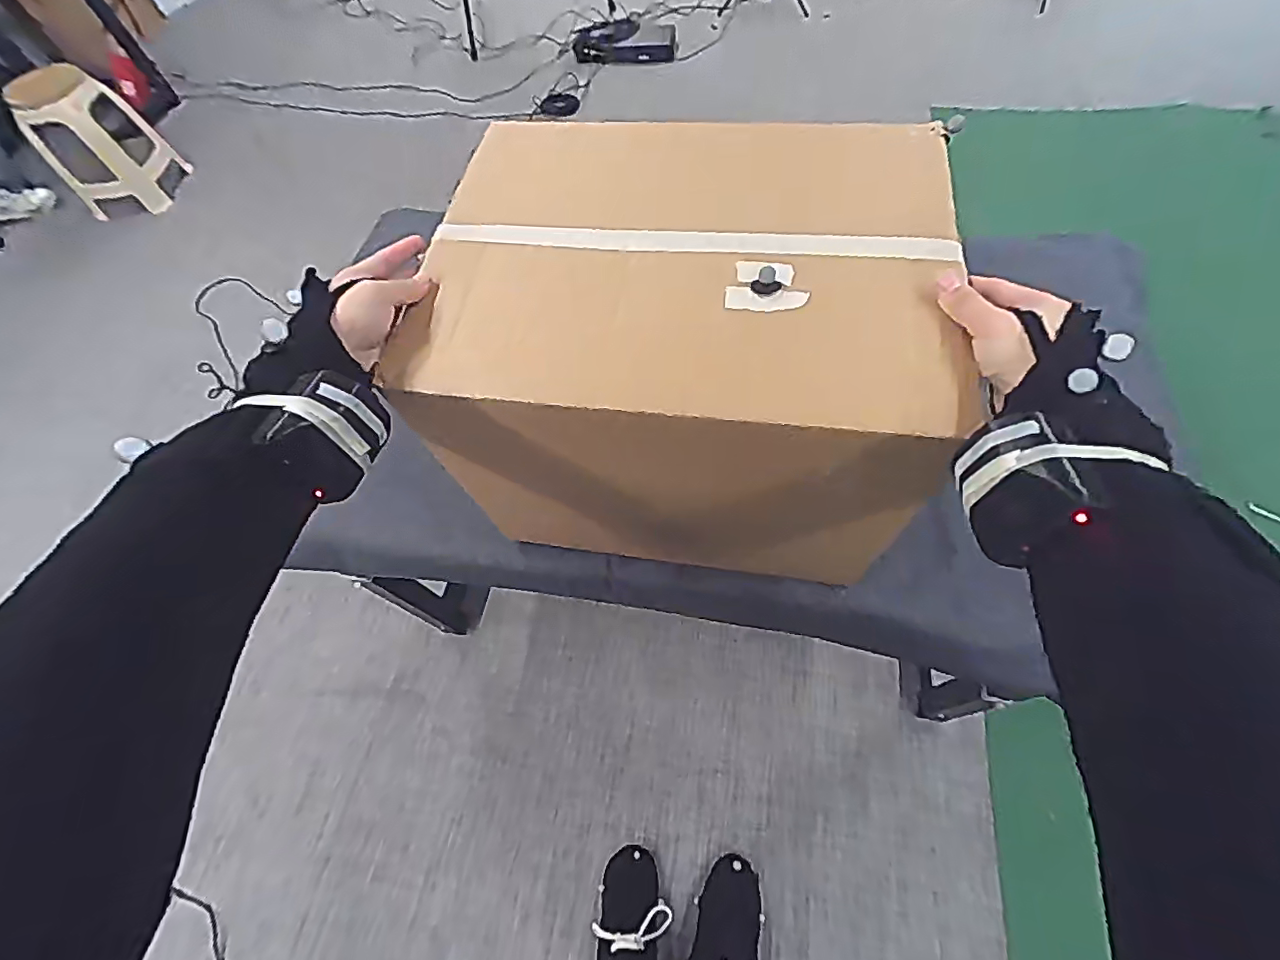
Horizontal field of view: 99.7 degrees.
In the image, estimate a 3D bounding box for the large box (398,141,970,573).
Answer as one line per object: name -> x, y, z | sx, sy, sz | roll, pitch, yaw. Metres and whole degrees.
large box -> 0.047, -0.113, 0.567 | 0.408, 0.320, 0.320 | 6, 64, 8
